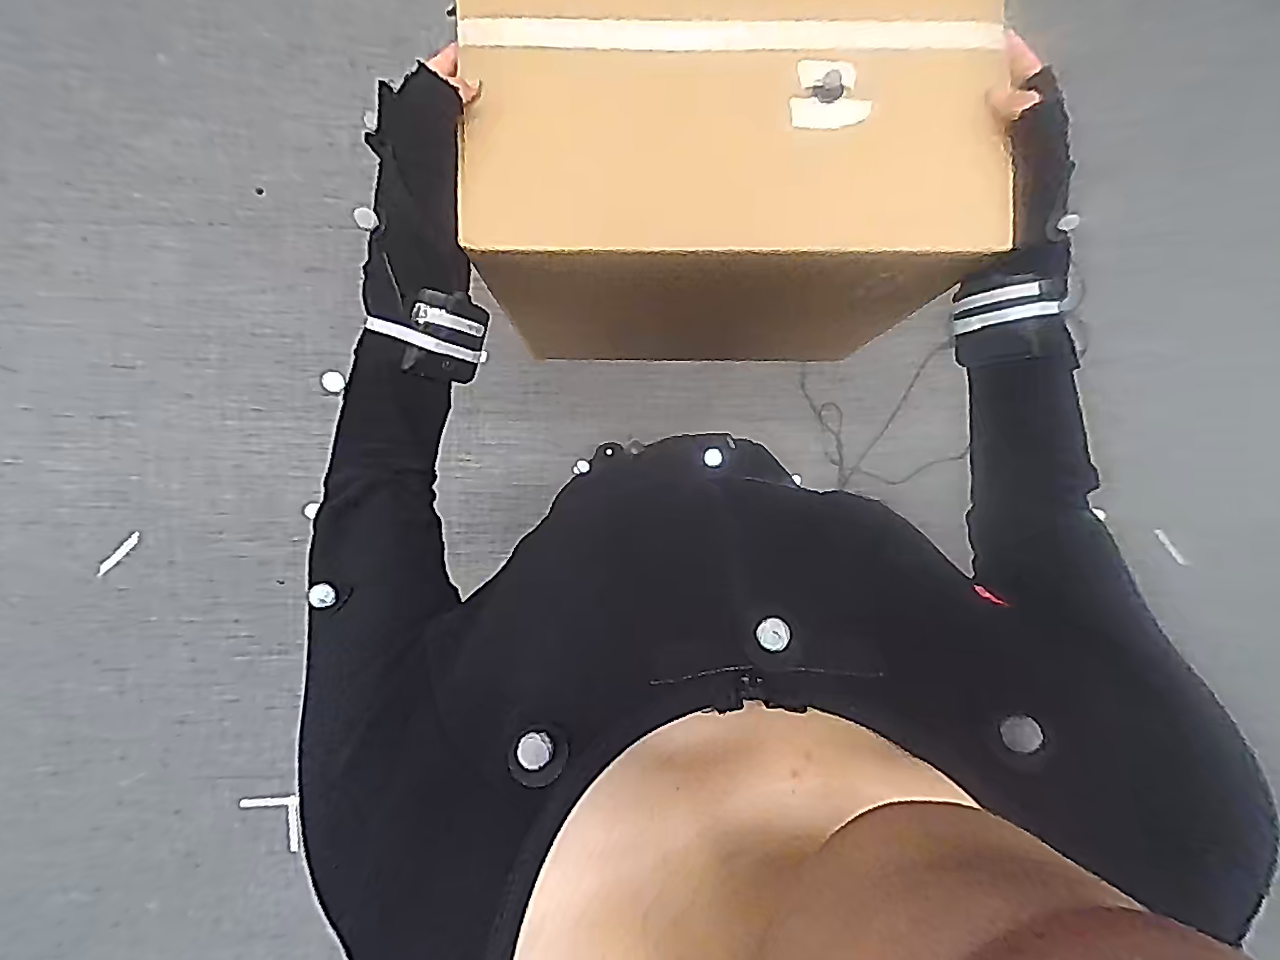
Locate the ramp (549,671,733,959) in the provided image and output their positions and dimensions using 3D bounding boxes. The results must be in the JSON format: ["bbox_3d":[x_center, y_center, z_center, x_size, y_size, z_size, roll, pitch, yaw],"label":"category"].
[{"bbox_3d":[0.001,1.035,1.458,0.509,0.206,0.991,-2,93,0],"label":"ramp"}]

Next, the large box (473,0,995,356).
[{"bbox_3d":[0.066,-0.324,0.564,0.408,0.320,0.320,0,88,-2],"label":"large box"}]
